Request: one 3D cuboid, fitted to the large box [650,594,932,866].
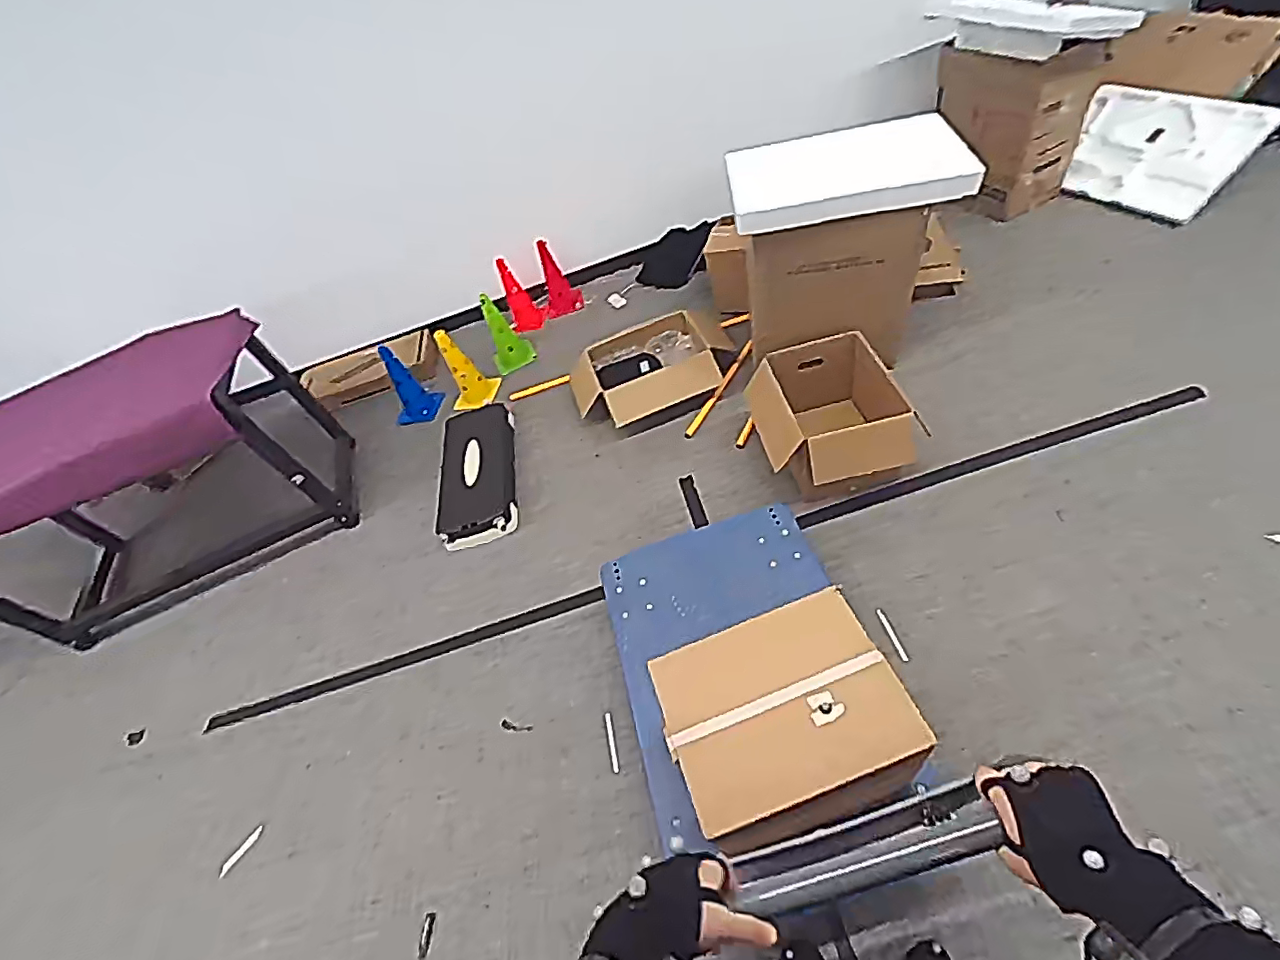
[{"bbox_3d":[0.277,0.497,1.071,0.408,0.320,0.320,-21,49,-3],"label":"large box"}]
